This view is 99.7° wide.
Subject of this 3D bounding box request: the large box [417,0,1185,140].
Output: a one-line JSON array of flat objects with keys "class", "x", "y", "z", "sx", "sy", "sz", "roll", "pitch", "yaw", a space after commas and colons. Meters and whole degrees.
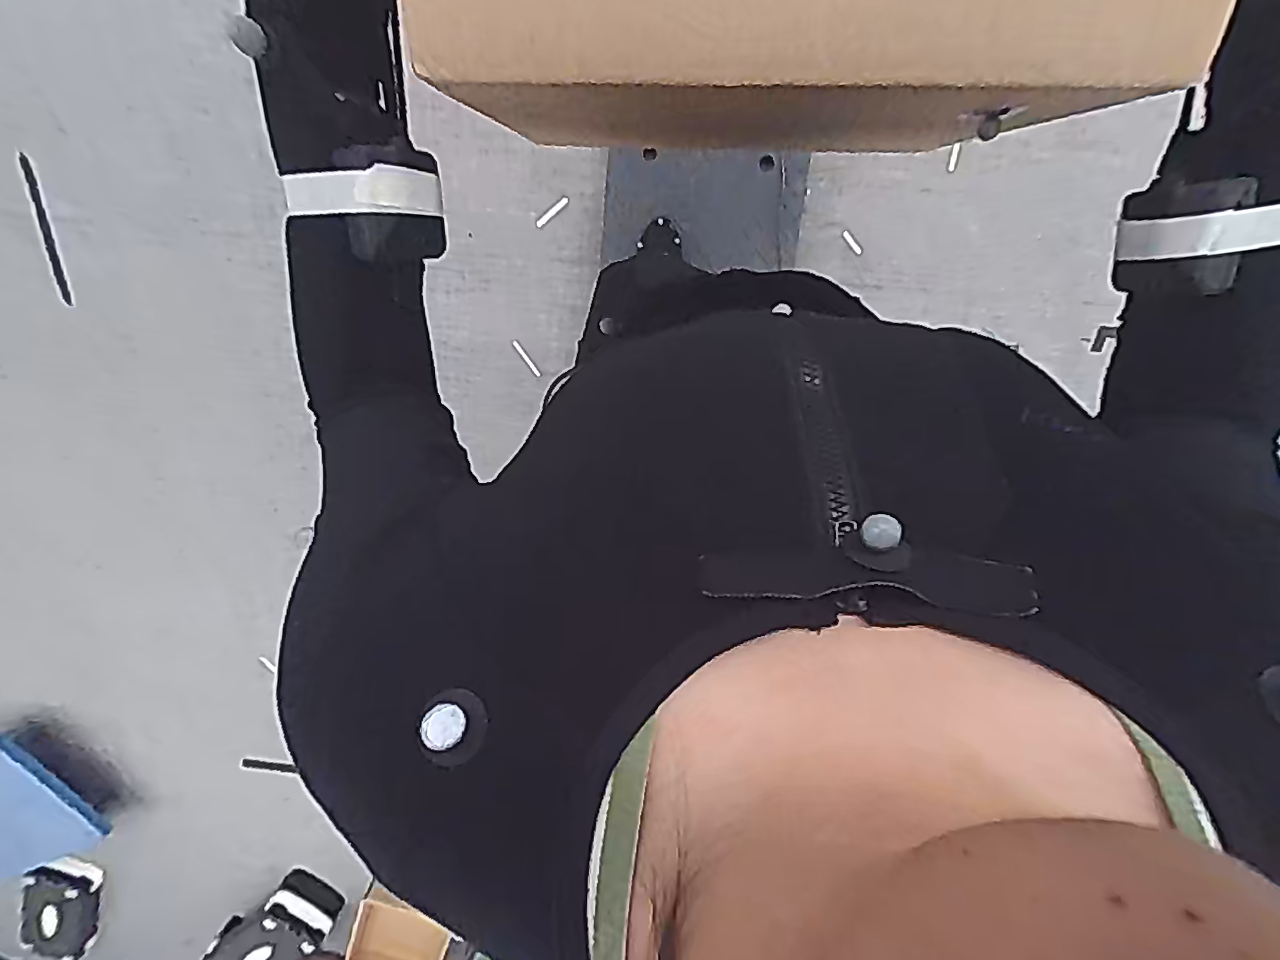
[{"class": "large box", "x": 0.087, "y": -0.420, "z": 0.359, "sx": 0.408, "sy": 0.320, "sz": 0.320, "roll": 1, "pitch": 116, "yaw": 1}]
